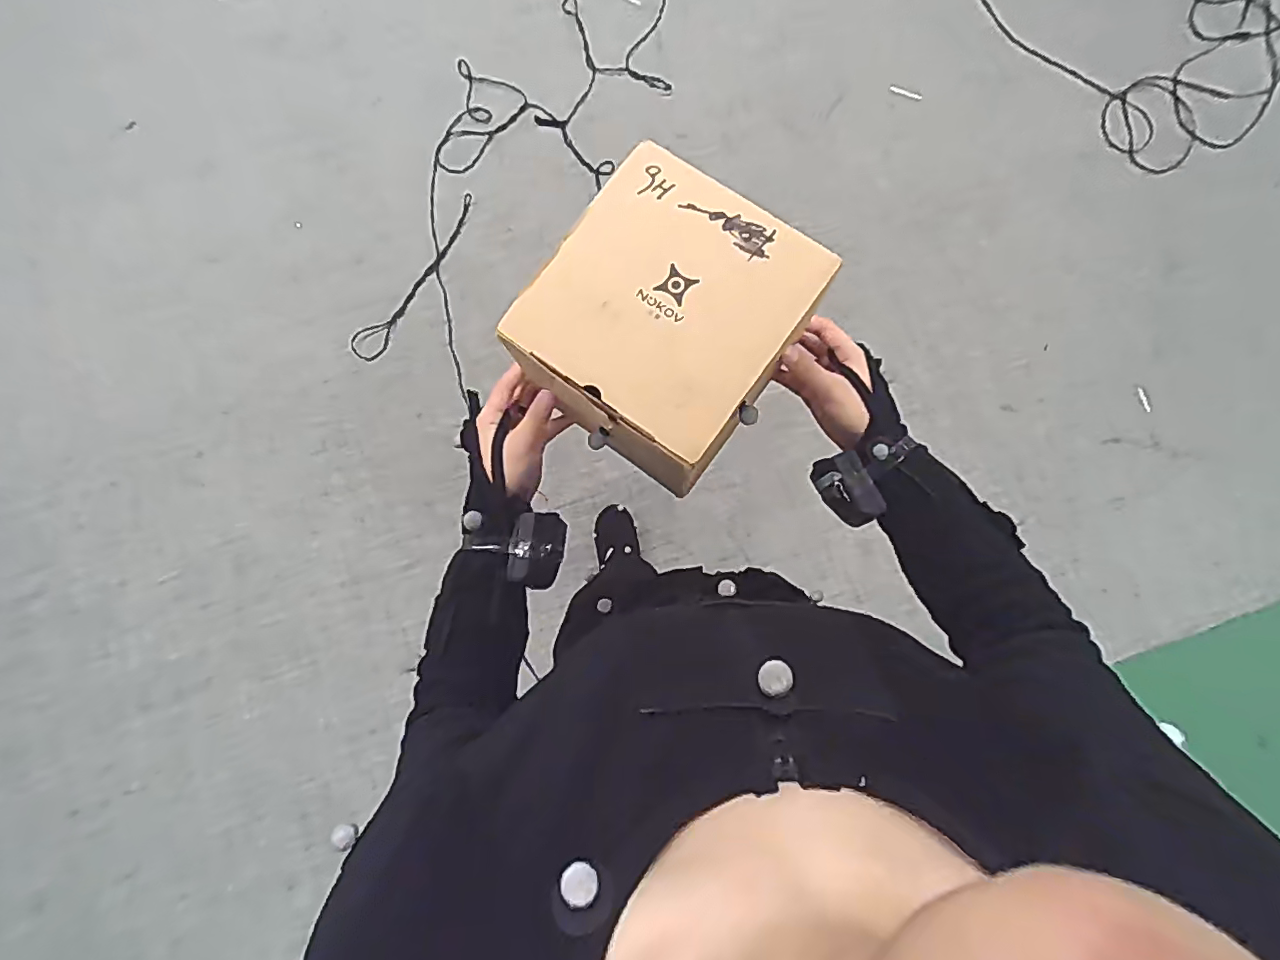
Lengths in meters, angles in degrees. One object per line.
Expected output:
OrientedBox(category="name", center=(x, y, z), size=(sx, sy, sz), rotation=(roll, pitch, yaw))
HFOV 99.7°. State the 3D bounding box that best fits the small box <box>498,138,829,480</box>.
OrientedBox(category="small box", center=(0.021, -0.118, 0.446), size=(0.168, 0.176, 0.179), rotation=(35, 85, 8))
